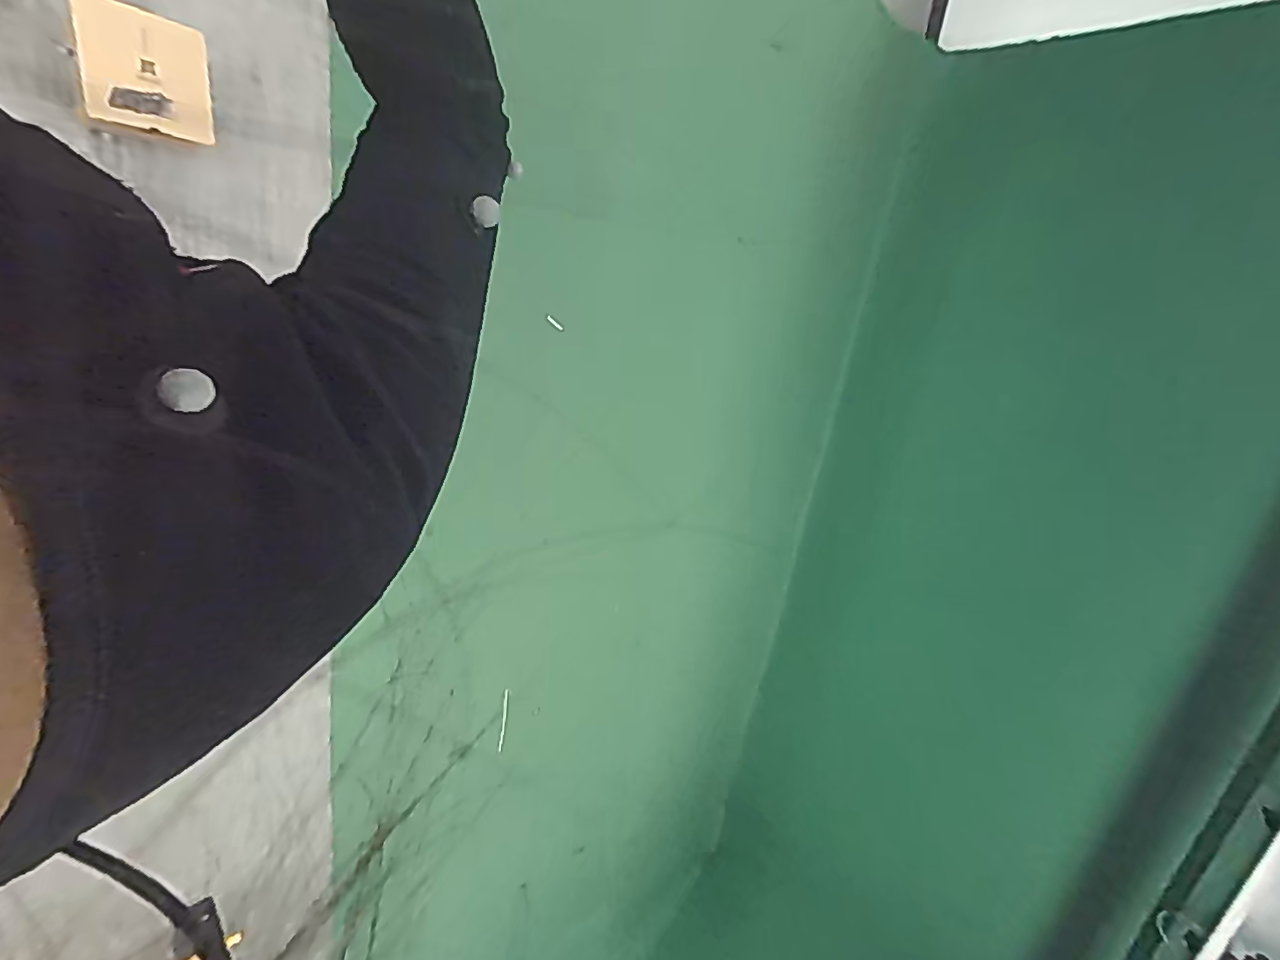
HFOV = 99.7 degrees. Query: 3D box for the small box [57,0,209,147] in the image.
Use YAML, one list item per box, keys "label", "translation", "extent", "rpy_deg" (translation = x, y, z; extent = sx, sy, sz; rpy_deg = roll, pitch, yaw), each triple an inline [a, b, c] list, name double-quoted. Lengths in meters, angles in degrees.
- label: "small box"
  translation: [-0.865, -0.693, 0.926]
  extent: [0.168, 0.176, 0.179]
  rpy_deg: [-11, 116, -47]
